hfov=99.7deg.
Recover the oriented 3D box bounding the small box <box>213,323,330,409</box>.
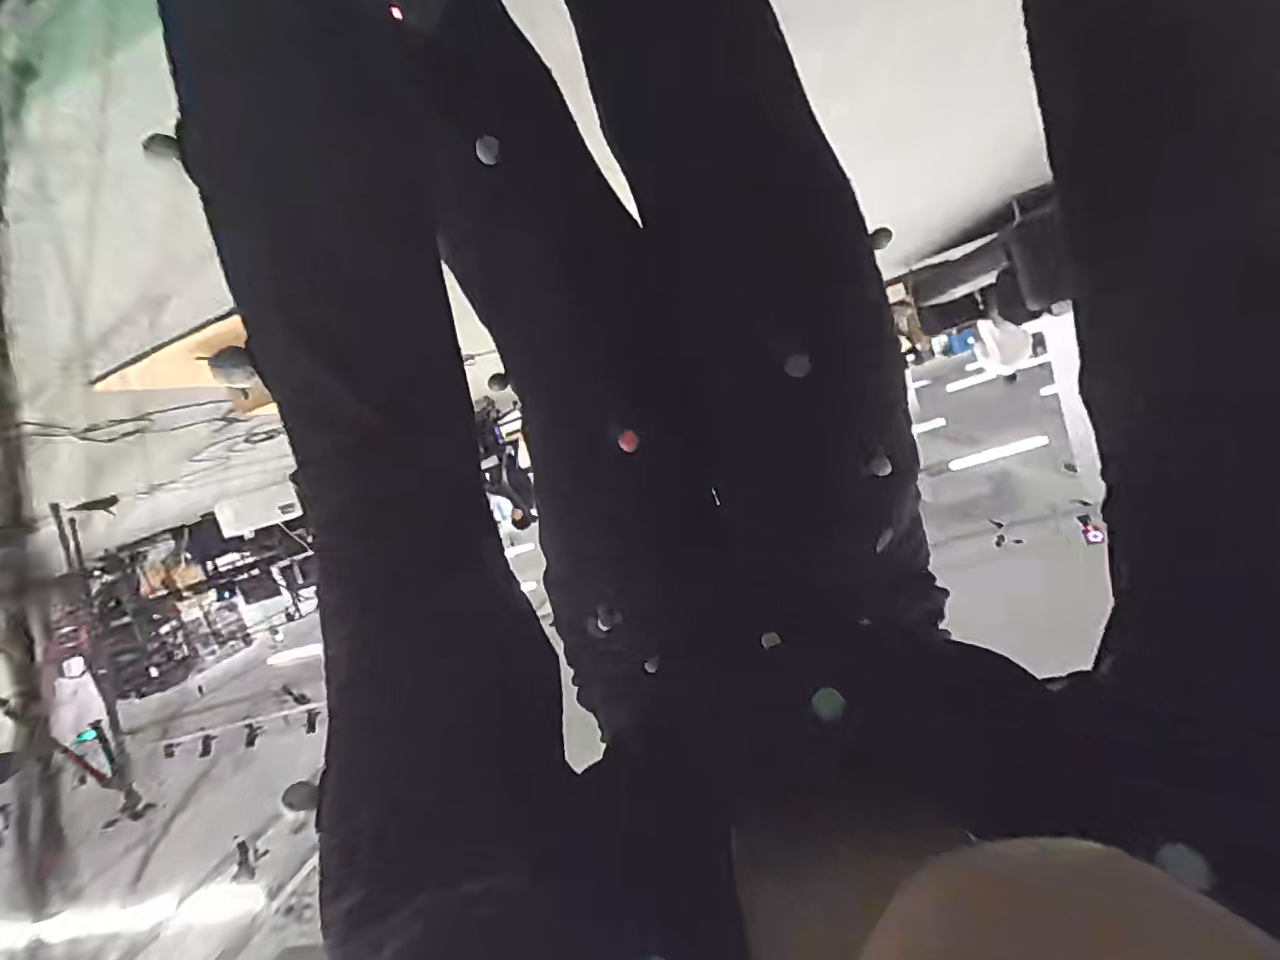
[{"bbox_3d":[-0.974,-0.298,1.426,0.179,0.176,0.168,-18,-171,11],"label":"small box"}]
